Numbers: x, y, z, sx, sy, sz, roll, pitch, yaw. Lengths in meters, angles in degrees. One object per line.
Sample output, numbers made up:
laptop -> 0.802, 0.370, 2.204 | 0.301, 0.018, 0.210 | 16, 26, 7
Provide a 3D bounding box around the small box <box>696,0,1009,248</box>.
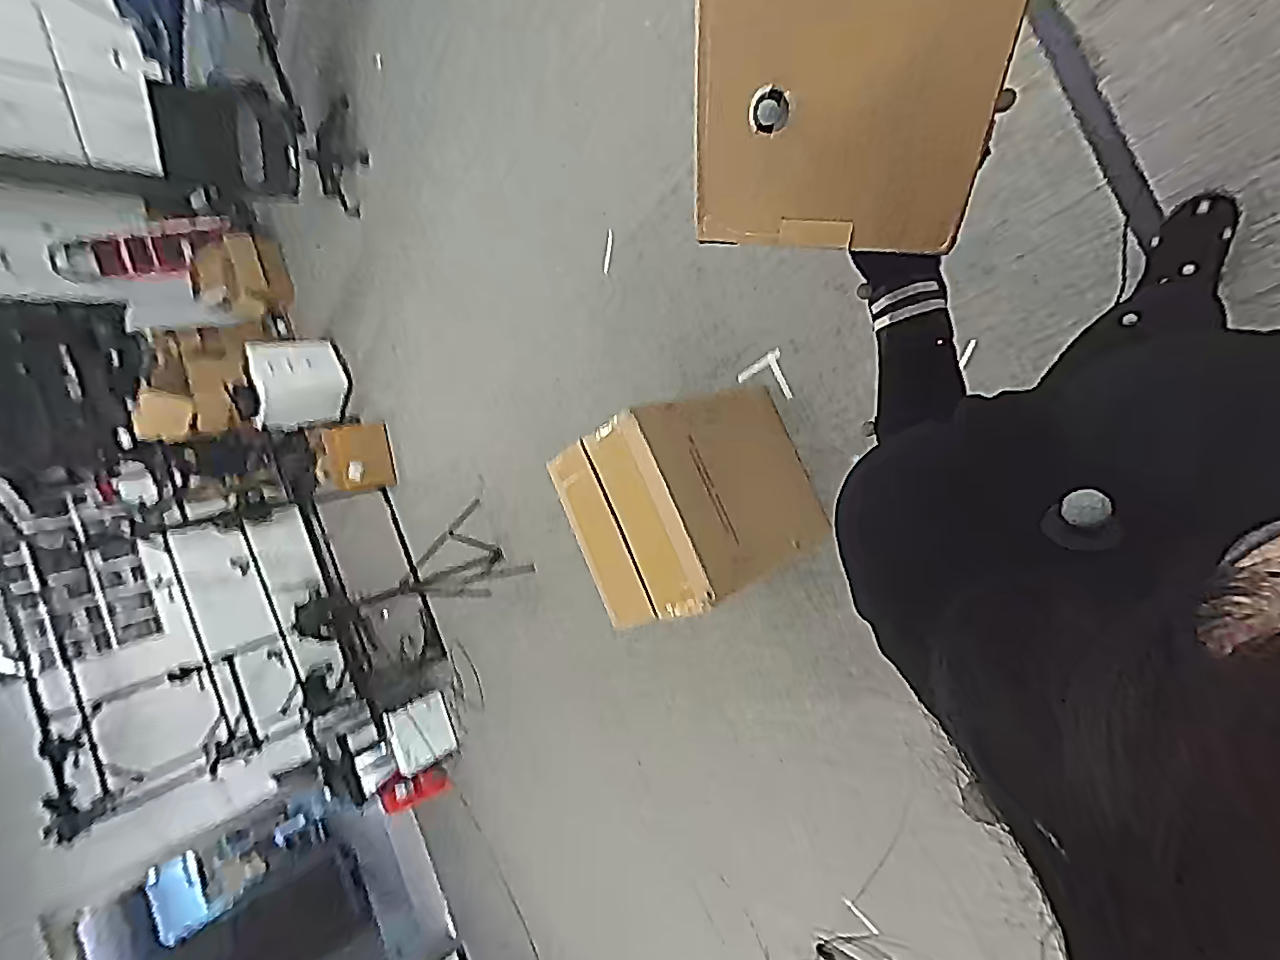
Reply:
small box -> 0.136, -0.270, 0.371 | 0.168, 0.179, 0.176 | 9, 131, 18
